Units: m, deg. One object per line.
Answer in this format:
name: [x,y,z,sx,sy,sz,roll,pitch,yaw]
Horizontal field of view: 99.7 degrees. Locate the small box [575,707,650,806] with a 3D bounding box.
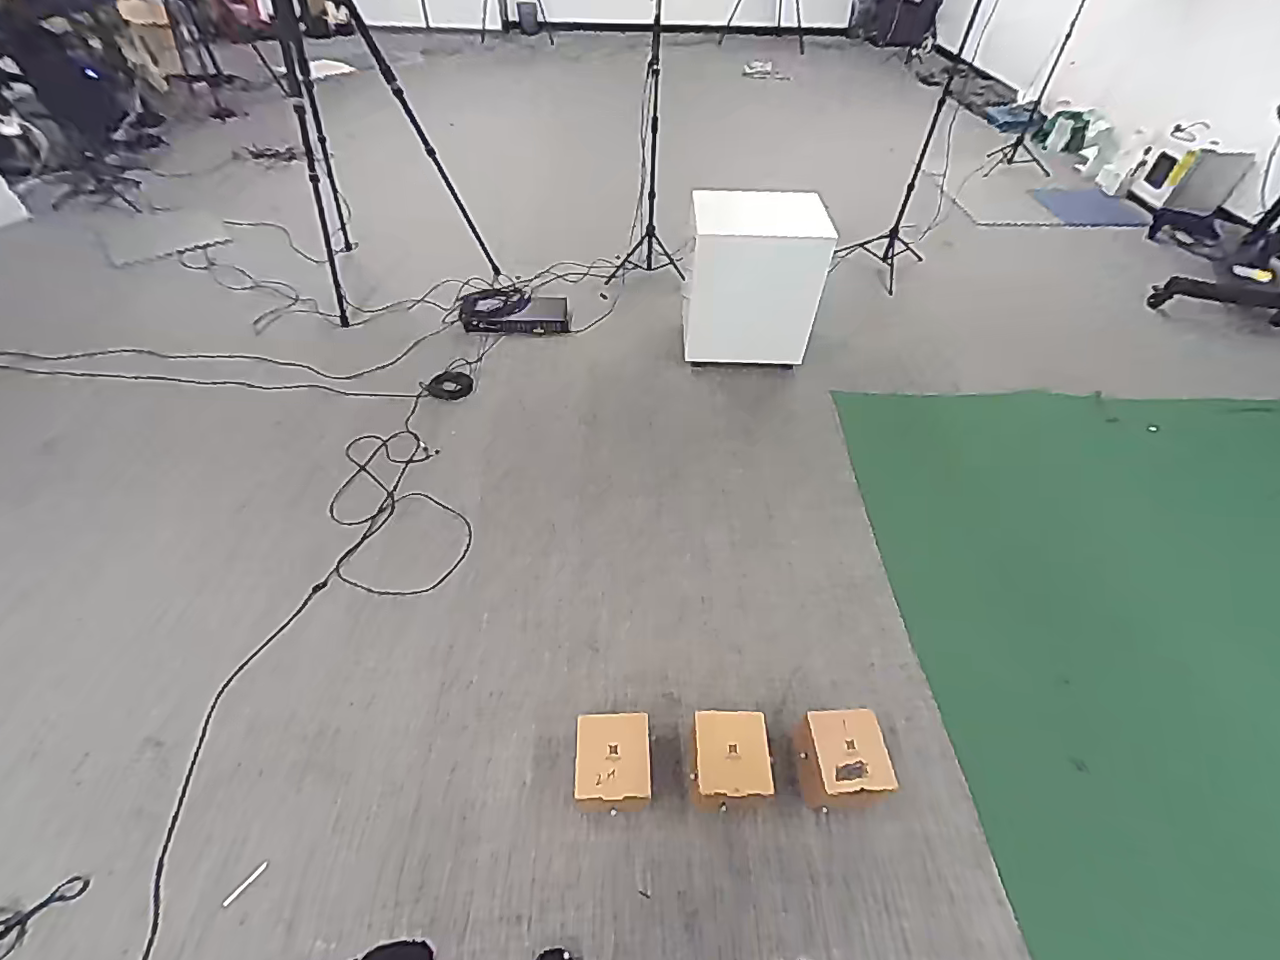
small box: [-0.062,0.652,1.274,0.168,0.176,0.179,-1,50,-1]

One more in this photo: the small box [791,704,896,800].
small box: [0.475,0.653,1.290,0.168,0.176,0.179,-1,49,-3]

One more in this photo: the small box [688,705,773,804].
small box: [0.207,0.653,1.284,0.168,0.176,0.179,1,50,-1]
